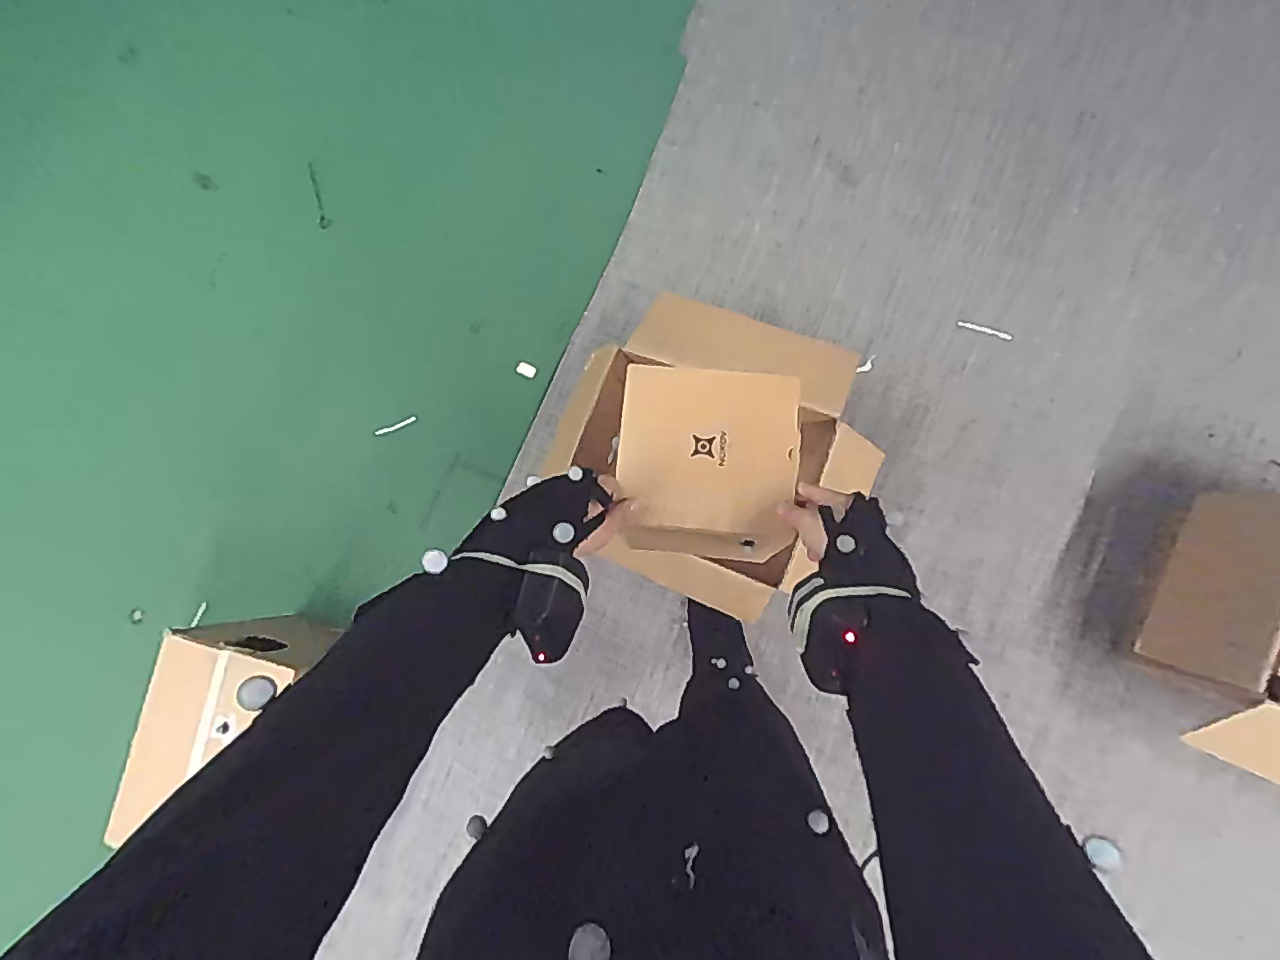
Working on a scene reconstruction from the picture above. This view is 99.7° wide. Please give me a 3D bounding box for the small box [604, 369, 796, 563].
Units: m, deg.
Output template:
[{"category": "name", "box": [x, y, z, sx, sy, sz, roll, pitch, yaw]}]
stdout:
[{"category": "small box", "box": [0.063, -0.005, 0.596, 0.179, 0.176, 0.168, 5, 74, 3]}]
